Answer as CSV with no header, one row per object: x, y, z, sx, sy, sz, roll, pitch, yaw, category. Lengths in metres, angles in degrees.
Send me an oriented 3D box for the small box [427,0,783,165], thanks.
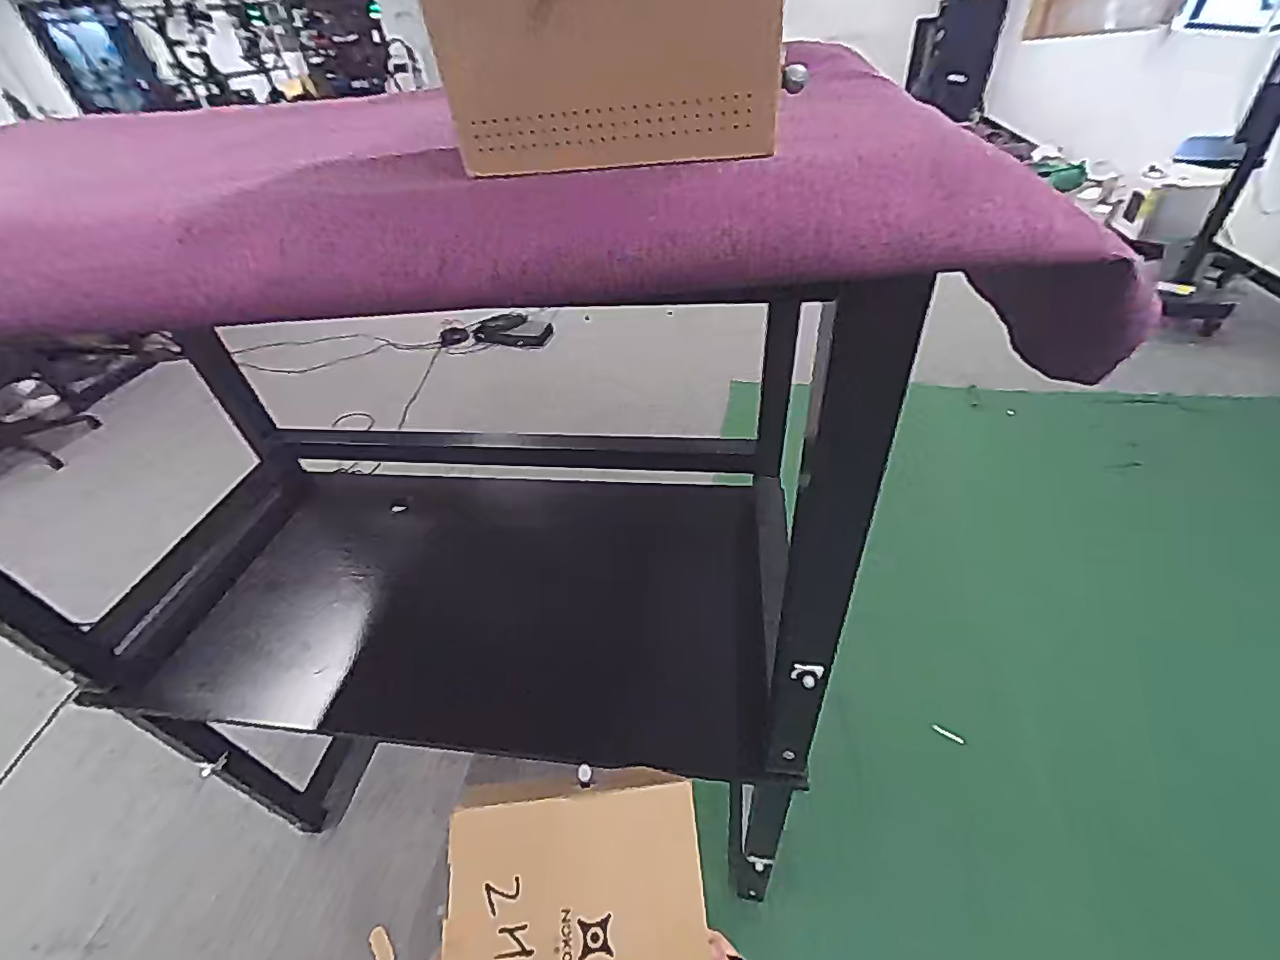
-0.009,-0.292,0.300,0.179,0.176,0.168,1,42,11,small box
